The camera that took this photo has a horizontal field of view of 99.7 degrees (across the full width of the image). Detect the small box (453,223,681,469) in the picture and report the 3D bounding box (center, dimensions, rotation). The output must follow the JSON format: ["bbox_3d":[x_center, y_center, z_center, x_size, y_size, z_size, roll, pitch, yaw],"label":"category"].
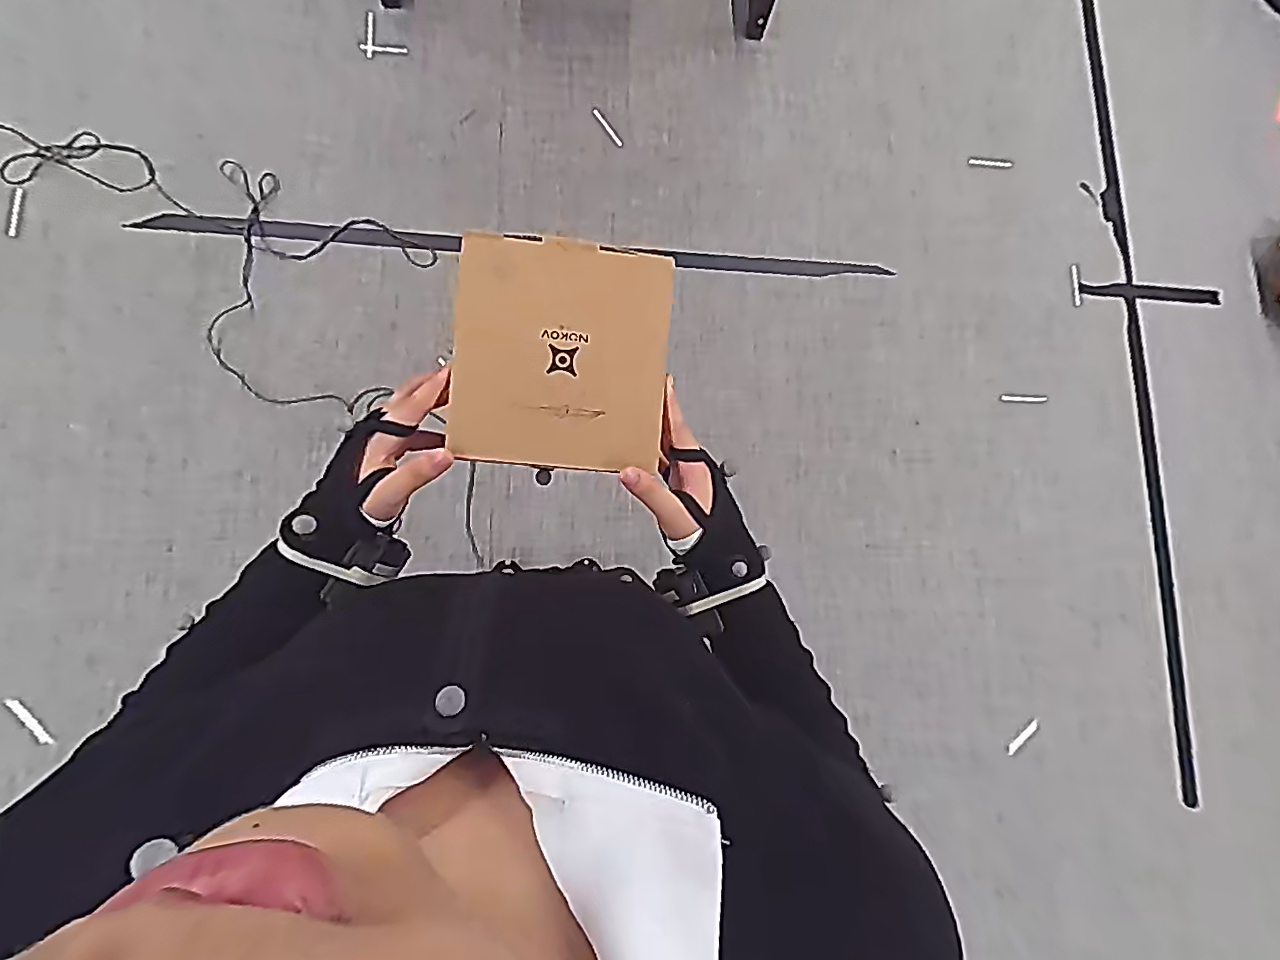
[{"bbox_3d":[-0.066,-0.104,0.500,0.168,0.176,0.179,5,91,-7],"label":"small box"}]
